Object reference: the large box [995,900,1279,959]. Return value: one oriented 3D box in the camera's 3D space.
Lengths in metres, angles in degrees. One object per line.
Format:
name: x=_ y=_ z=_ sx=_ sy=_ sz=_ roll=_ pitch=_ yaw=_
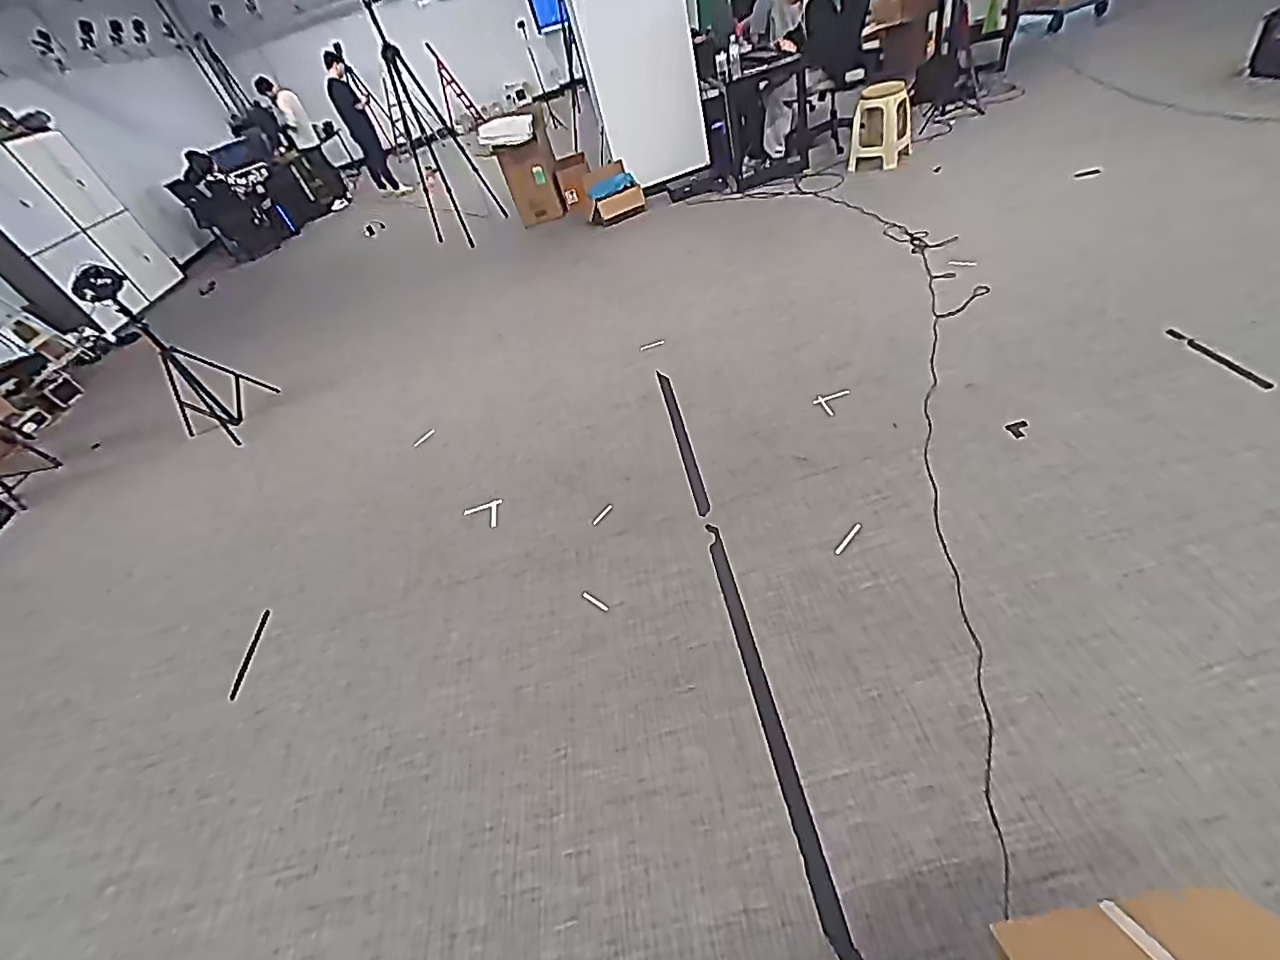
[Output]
large box: x=0.638 y=0.707 z=0.509 sx=0.320 sy=0.408 sz=0.320 roll=-17 pitch=81 yaw=6
